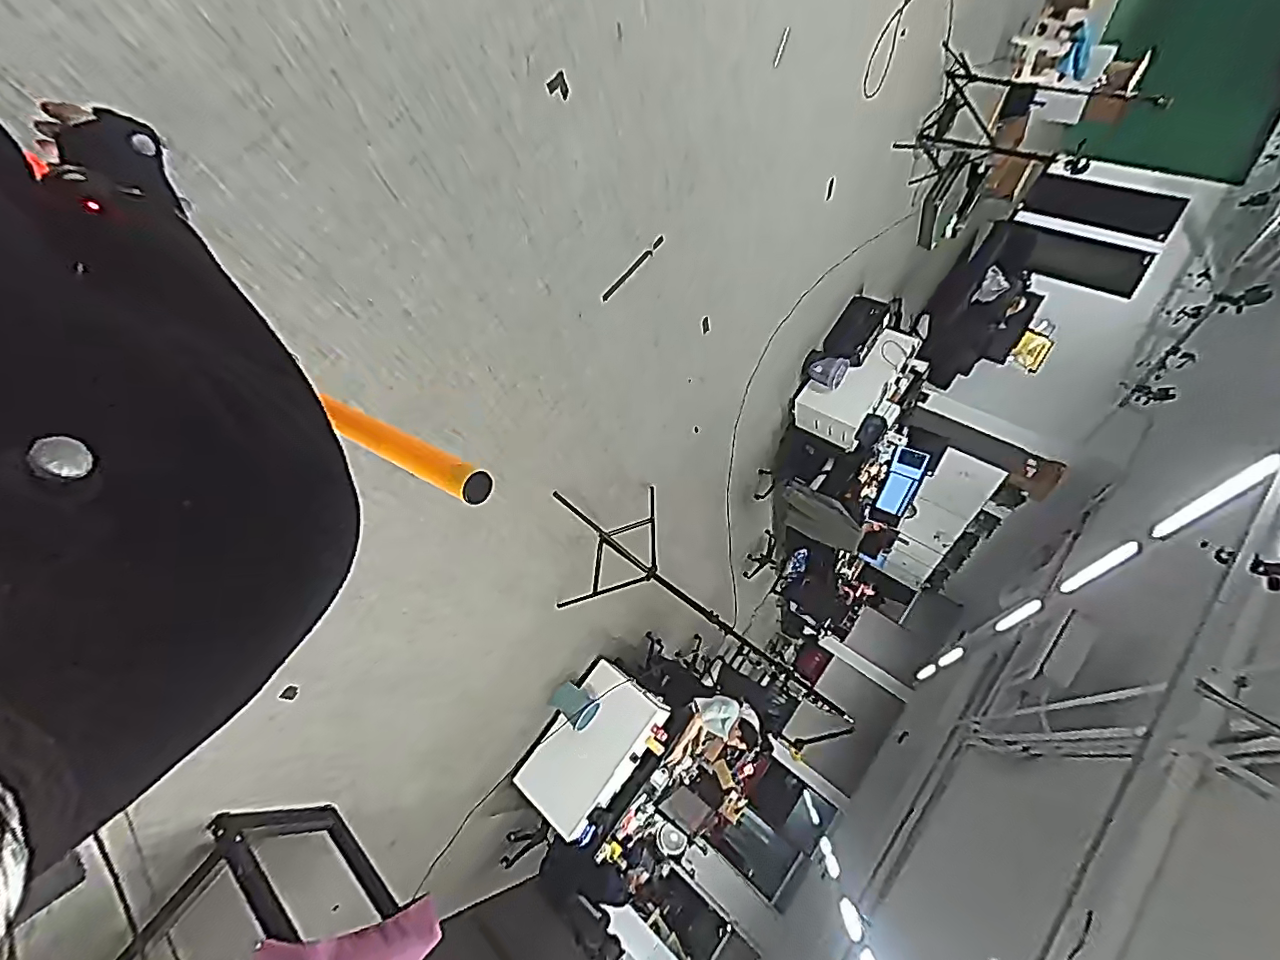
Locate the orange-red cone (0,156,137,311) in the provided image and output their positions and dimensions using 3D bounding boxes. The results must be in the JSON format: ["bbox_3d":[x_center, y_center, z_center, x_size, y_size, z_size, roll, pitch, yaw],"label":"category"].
[{"bbox_3d":[-0.915,-0.343,0.862,0.199,0.360,0.198,-49,151,-16],"label":"orange-red cone"}]
